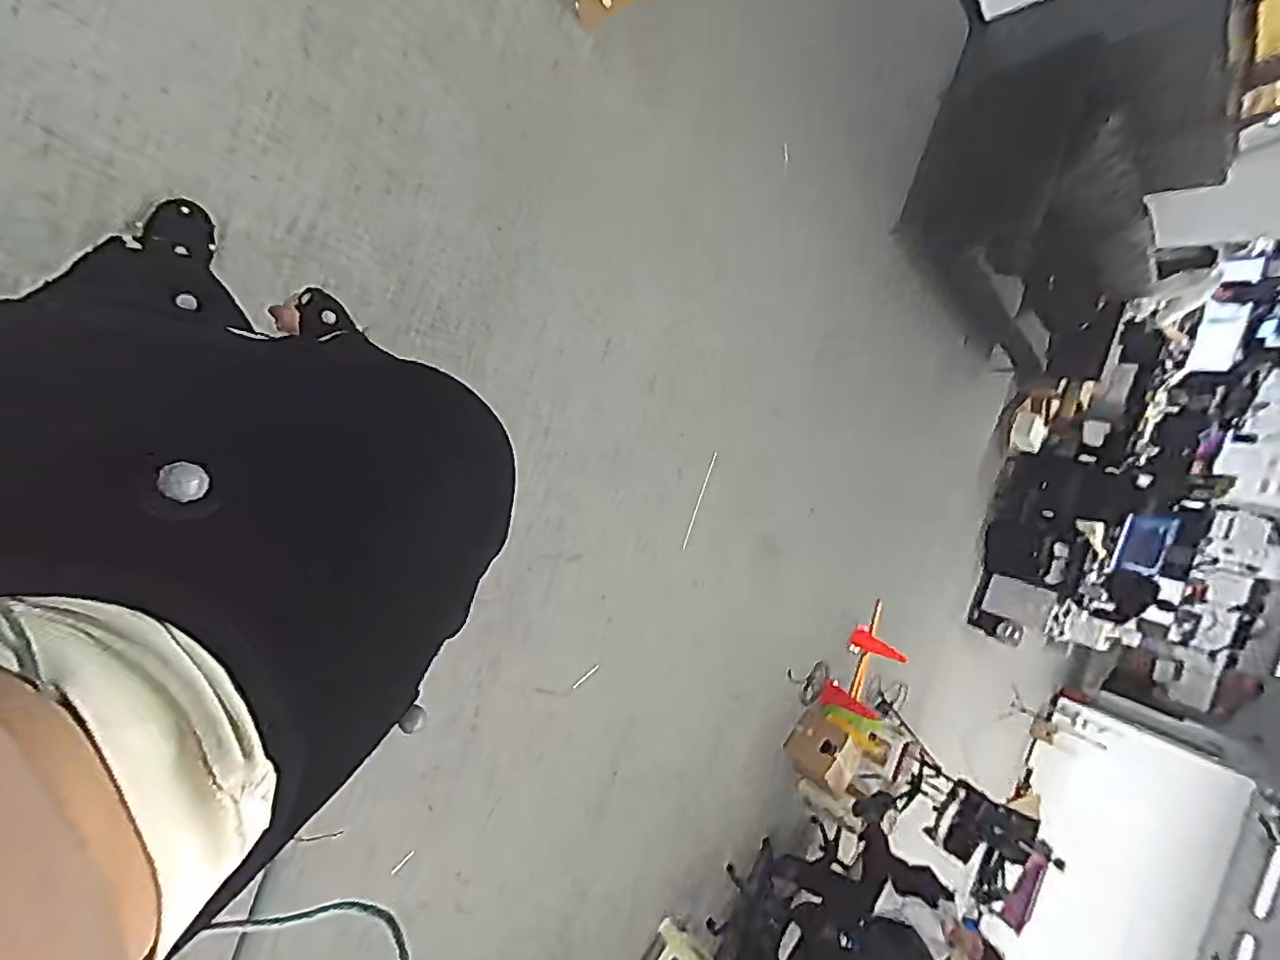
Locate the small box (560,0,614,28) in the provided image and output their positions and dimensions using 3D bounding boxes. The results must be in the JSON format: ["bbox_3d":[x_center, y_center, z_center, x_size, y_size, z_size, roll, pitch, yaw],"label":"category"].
[{"bbox_3d":[-0.138,-1.469,1.555,0.168,0.176,0.179,35,81,-39],"label":"small box"}]
